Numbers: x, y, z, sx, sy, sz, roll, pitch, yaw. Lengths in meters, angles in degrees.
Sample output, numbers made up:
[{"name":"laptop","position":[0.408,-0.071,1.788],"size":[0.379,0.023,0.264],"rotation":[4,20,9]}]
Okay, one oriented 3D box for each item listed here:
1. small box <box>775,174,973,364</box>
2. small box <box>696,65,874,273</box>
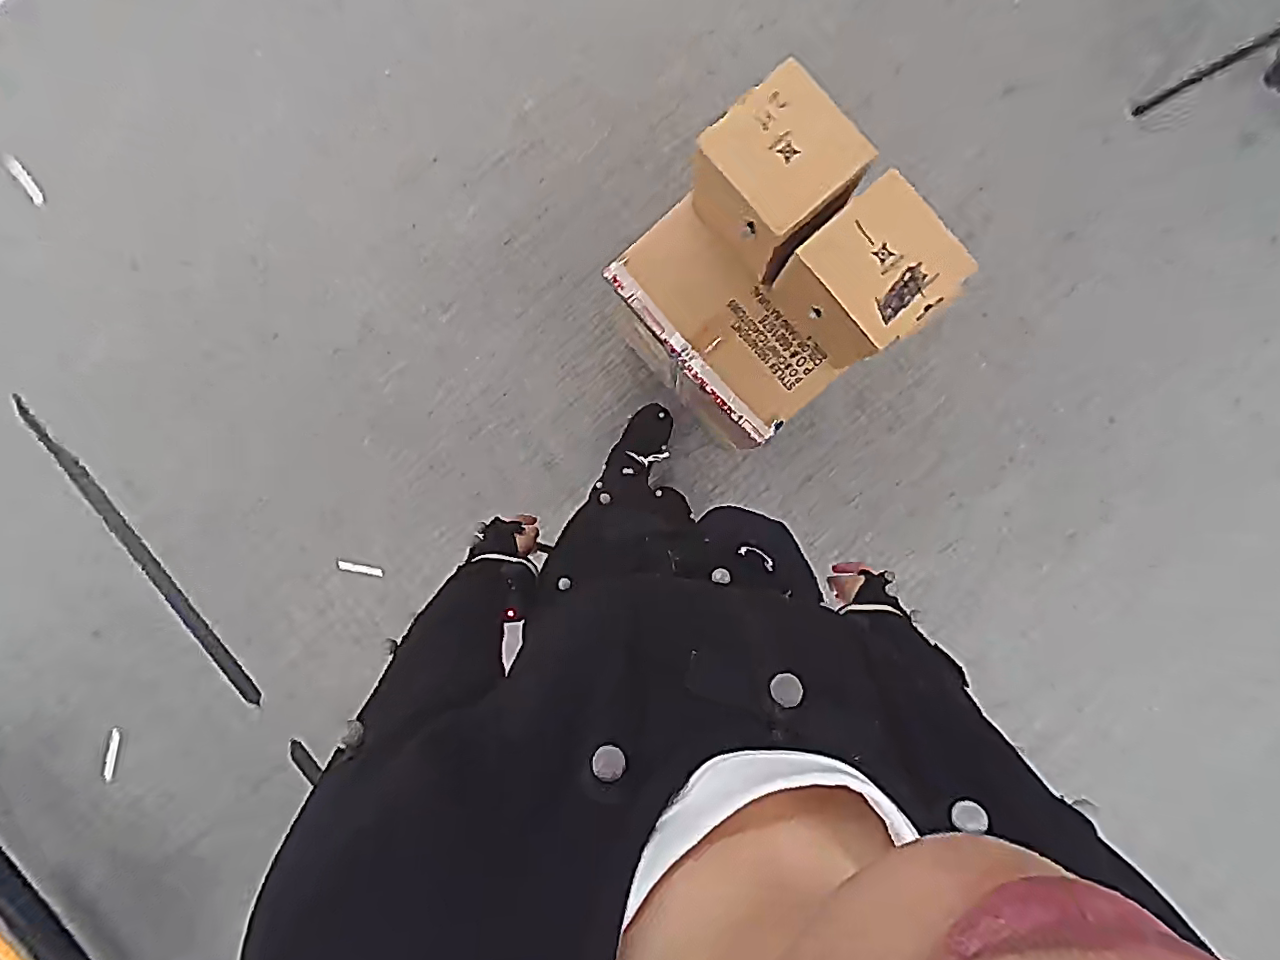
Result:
[{"name":"small box","position":[0.325,-0.288,0.788],"size":[0.168,0.176,0.179],"rotation":[-40,90,4]},{"name":"small box","position":[0.198,-0.430,0.790],"size":[0.168,0.176,0.179],"rotation":[-39,87,4]}]
